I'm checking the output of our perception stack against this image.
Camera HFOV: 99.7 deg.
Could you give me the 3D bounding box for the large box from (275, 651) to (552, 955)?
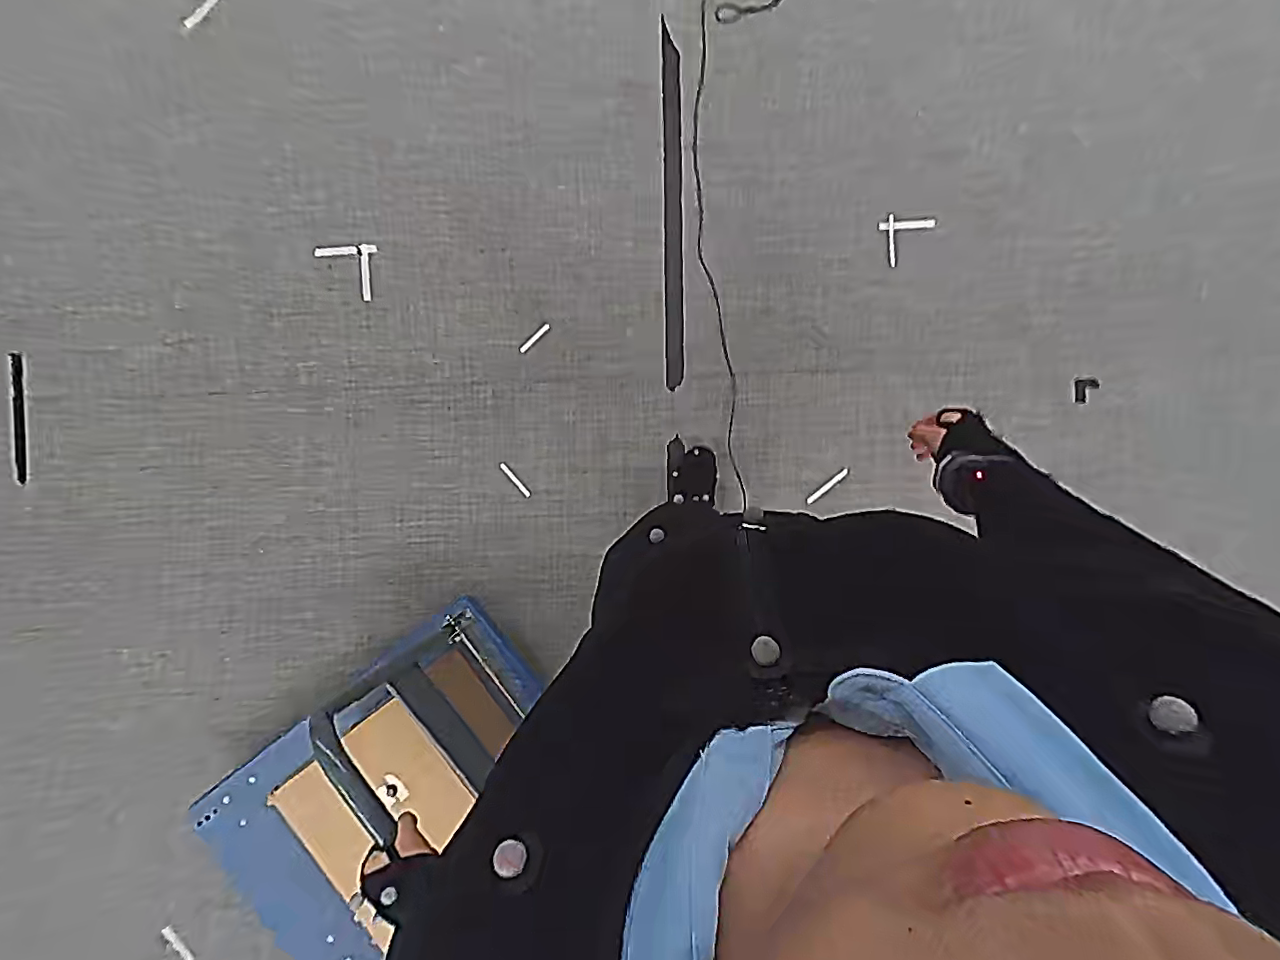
[{"bbox_3d":[-0.454,0.658,1.172,0.320,0.320,0.408,-38,88,-1],"label":"large box"}]
